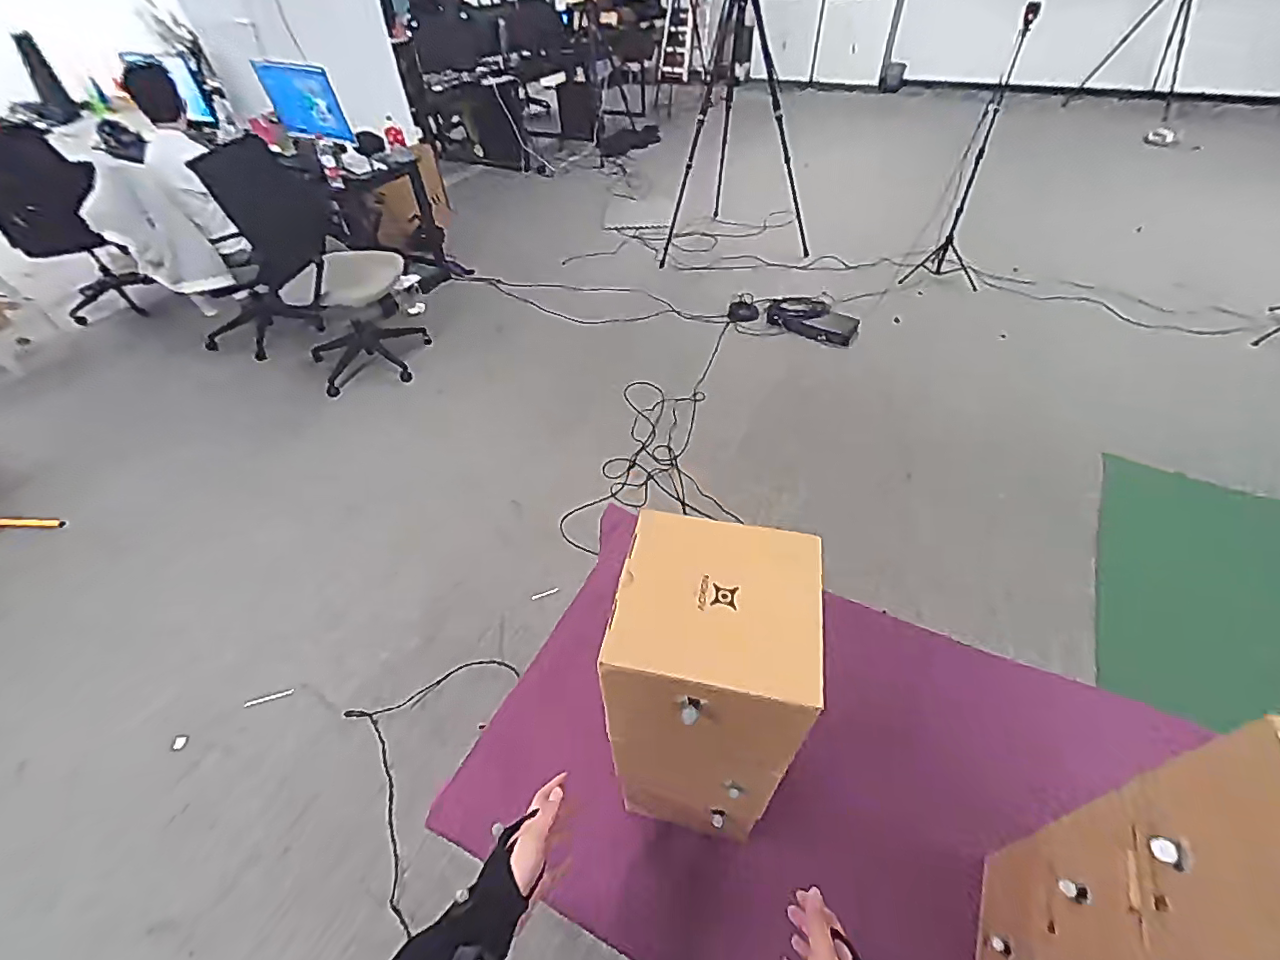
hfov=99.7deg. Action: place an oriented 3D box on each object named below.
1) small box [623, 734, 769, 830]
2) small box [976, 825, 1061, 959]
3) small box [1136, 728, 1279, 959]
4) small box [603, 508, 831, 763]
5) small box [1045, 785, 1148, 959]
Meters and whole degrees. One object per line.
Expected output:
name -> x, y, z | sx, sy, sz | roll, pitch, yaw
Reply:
small box -> 0.084, 0.371, 0.765 | 0.179, 0.176, 0.168 | 9, 47, 11
small box -> 0.499, 0.530, 0.597 | 0.179, 0.176, 0.168 | 22, 51, 21
small box -> 0.491, 0.301, 0.362 | 0.179, 0.176, 0.168 | 19, 50, 21
small box -> 0.075, 0.153, 0.522 | 0.179, 0.176, 0.168 | 8, 48, 10
small box -> 0.495, 0.416, 0.480 | 0.179, 0.176, 0.168 | 20, 51, 21
